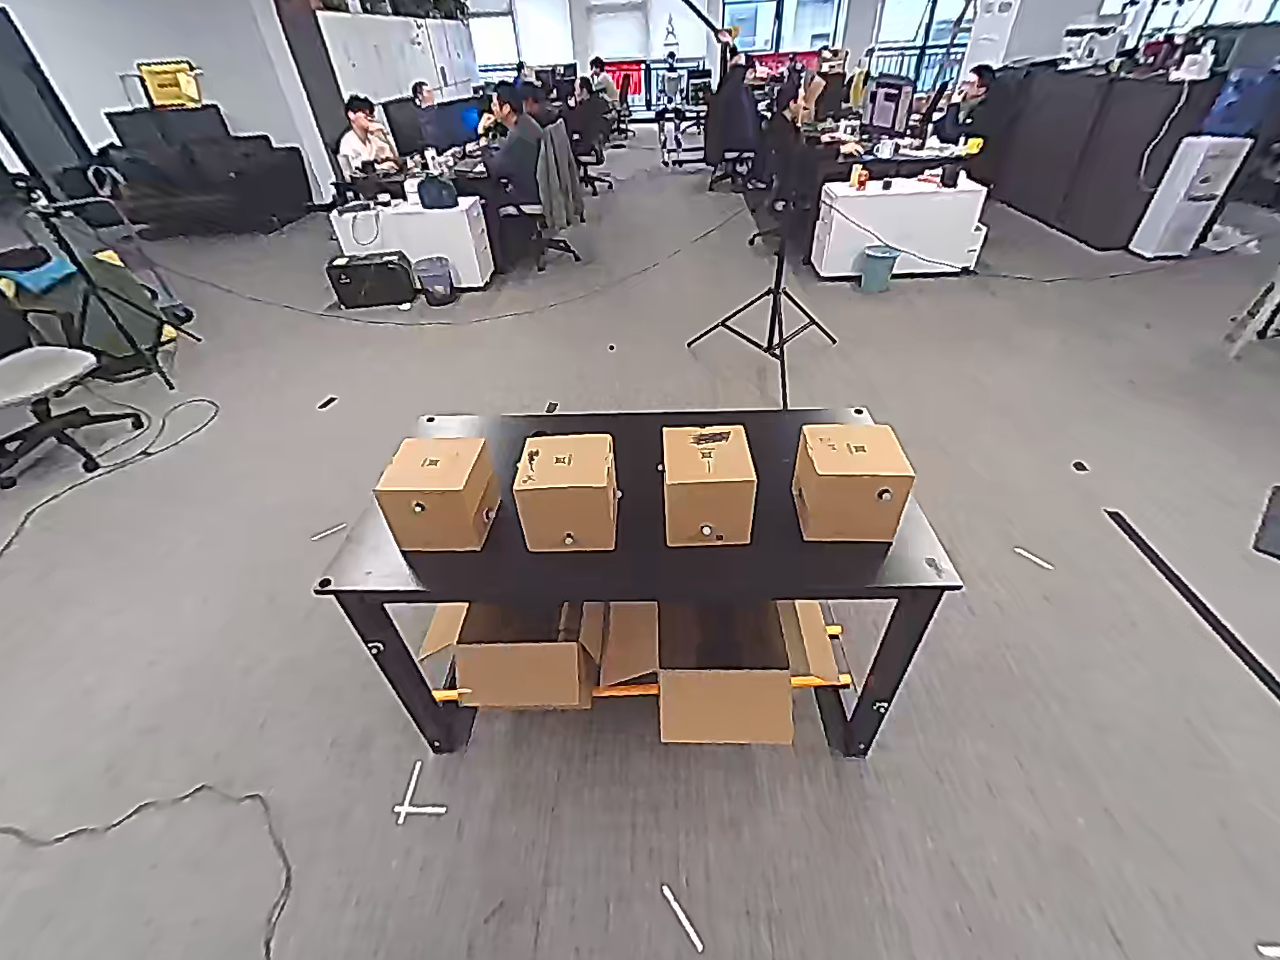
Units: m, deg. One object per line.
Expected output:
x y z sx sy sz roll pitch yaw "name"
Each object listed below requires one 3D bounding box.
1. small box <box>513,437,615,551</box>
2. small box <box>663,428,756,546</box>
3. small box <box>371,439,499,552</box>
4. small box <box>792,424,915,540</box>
-0.141 0.029 1.086 0.179 0.176 0.168 -1 39 1 "small box"
0.131 0.013 1.087 0.168 0.176 0.179 -2 40 1 "small box"
-0.404 0.032 1.101 0.179 0.176 0.168 0 40 2 "small box"
0.410 0.005 1.073 0.179 0.176 0.168 0 38 5 "small box"
